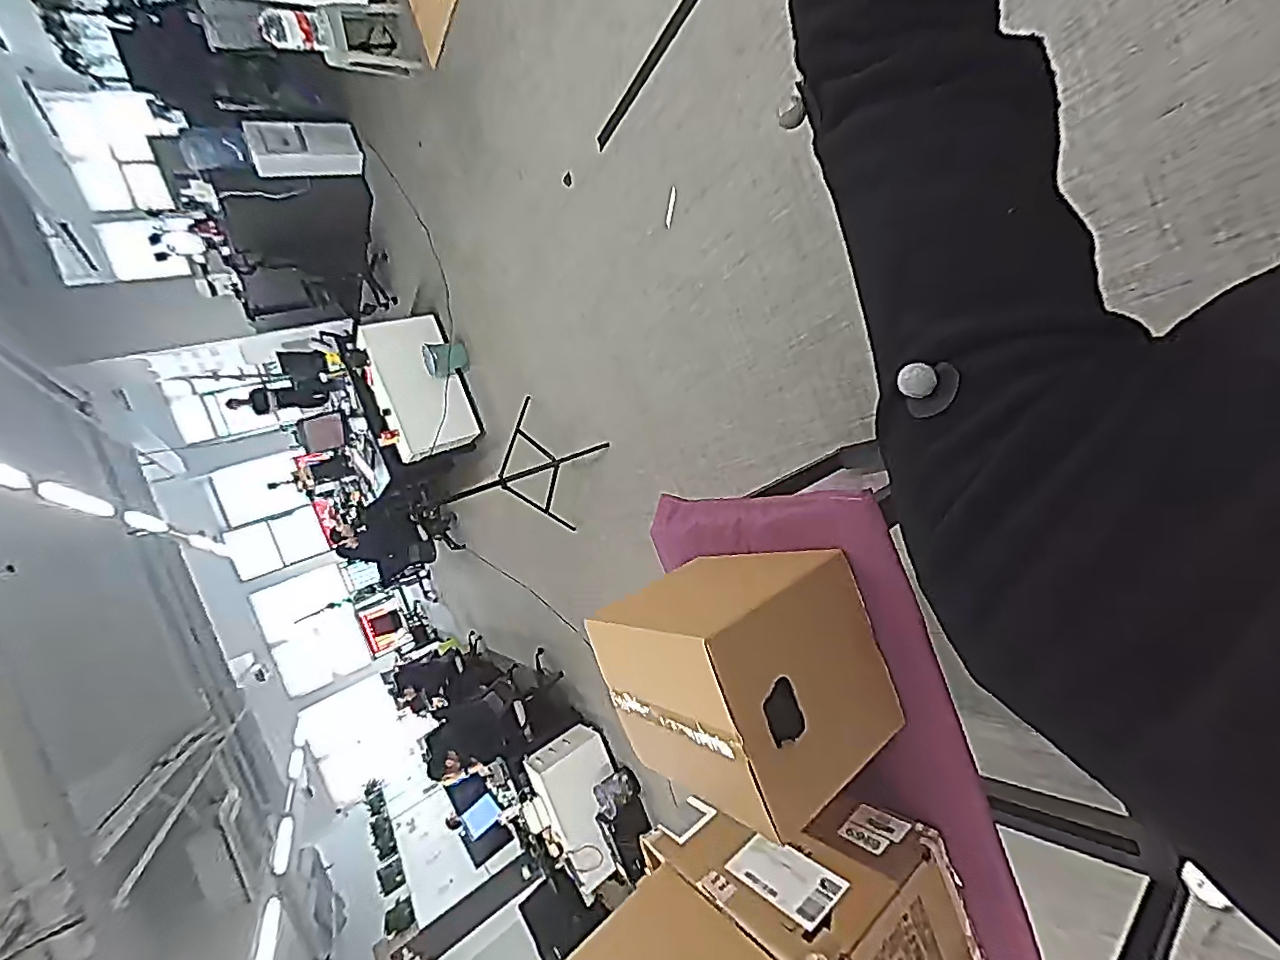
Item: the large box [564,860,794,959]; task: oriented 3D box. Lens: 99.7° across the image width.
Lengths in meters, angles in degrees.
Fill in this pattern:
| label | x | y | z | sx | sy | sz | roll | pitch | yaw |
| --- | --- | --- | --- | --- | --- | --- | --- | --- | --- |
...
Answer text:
| label | x | y | z | sx | sy | sz | roll | pitch | yaw |
| --- | --- | --- | --- | --- | --- | --- | --- | --- | --- |
| large box | 0.098 | 0.919 | 0.853 | 0.408 | 0.320 | 0.320 | -14 | 101 | 59 |
